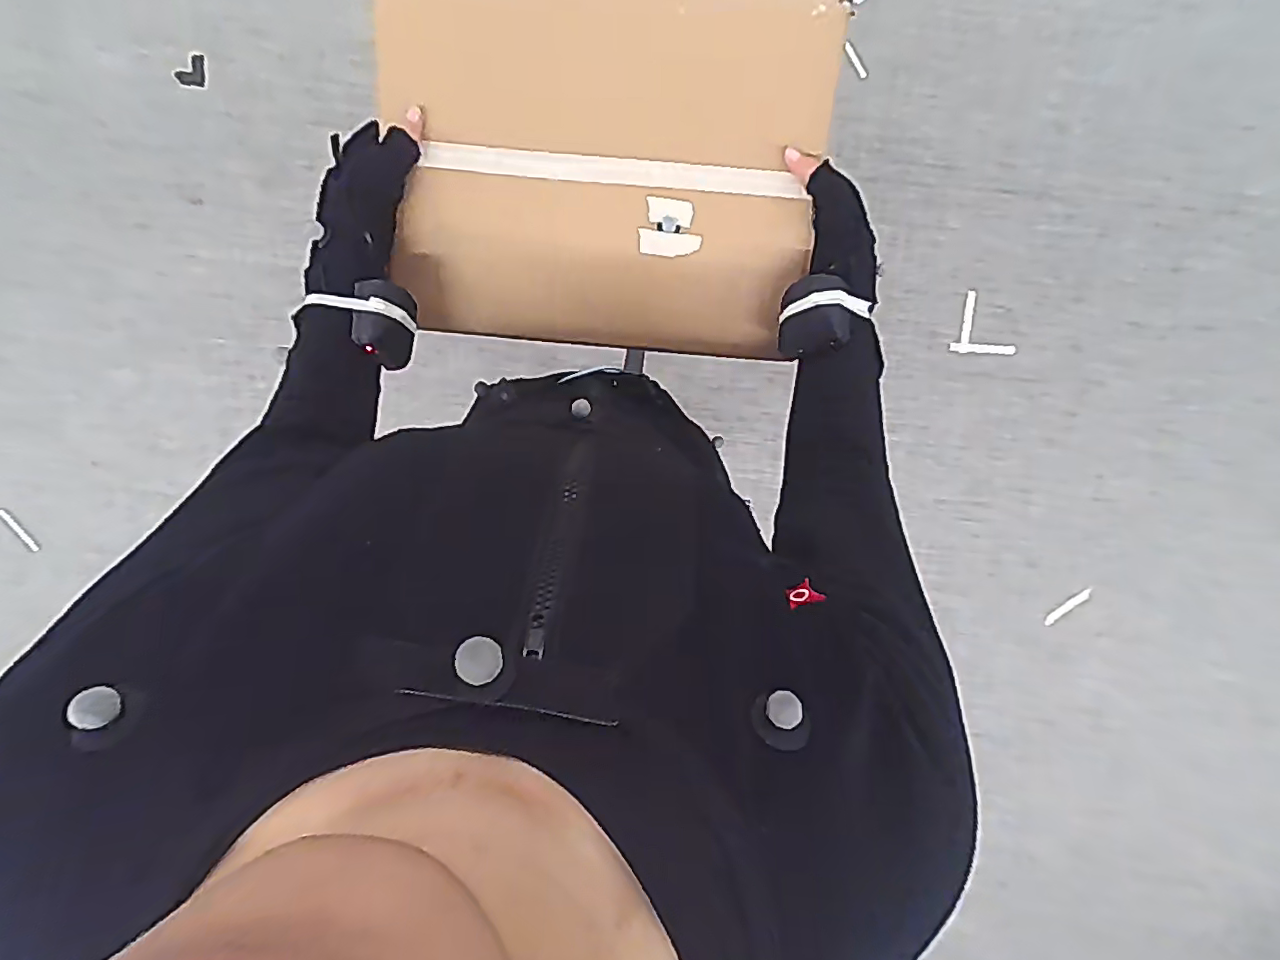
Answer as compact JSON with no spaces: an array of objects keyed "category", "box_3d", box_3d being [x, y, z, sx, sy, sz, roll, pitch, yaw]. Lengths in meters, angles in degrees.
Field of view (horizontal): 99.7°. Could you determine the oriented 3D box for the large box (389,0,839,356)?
[{"category":"large box","box_3d":[-0.035,-0.328,0.654,0.408,0.320,0.320,5,107,-2]}]
